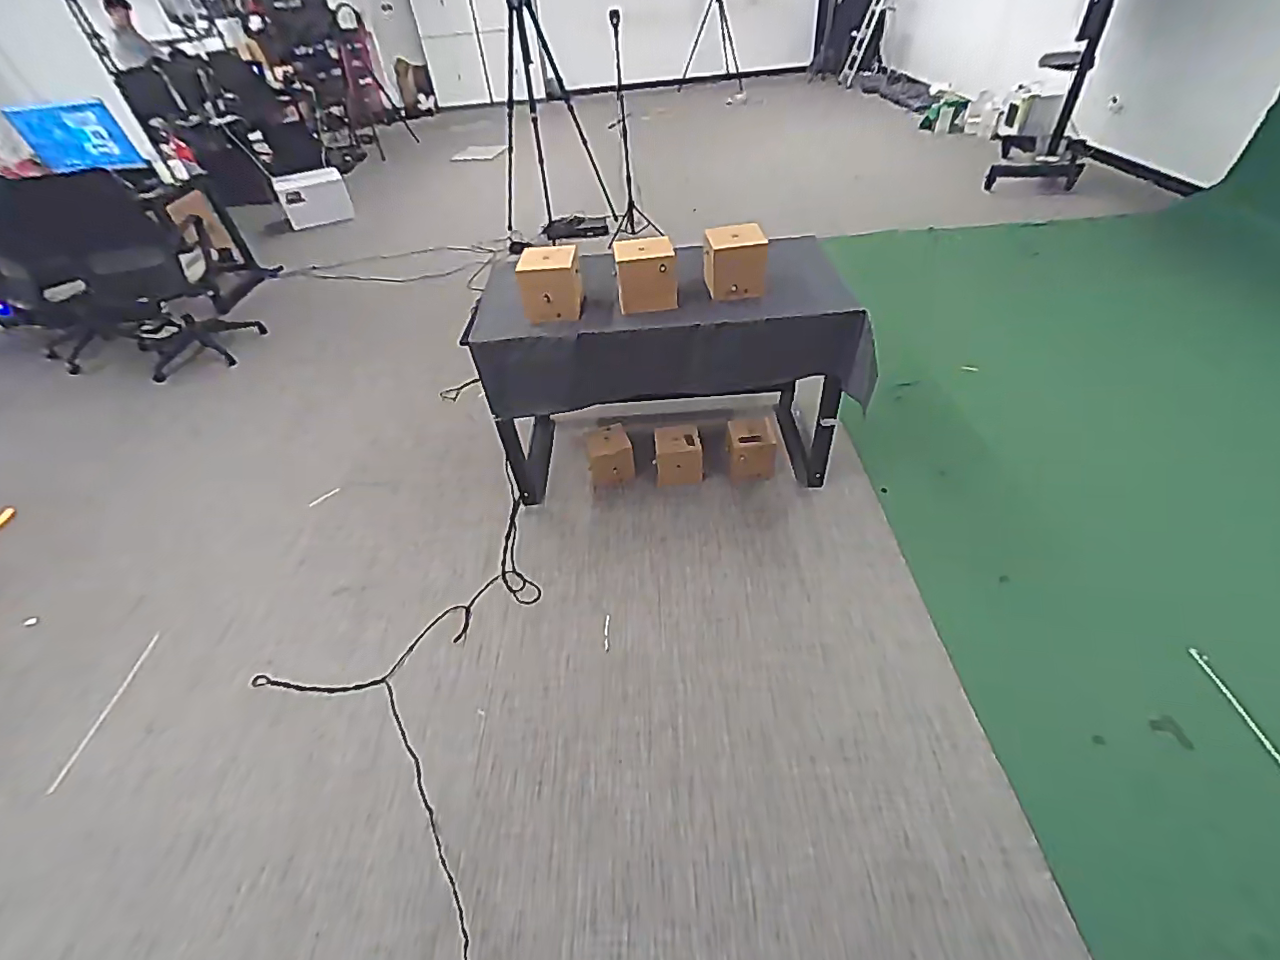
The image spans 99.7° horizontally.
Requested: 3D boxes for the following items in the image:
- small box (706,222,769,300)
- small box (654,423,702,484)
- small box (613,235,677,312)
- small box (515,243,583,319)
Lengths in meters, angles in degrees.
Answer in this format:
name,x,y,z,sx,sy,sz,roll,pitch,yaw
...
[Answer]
name,x,y,z,sx,sy,sz,roll,pitch,yaw
small box,0.295,-0.679,1.678,0.168,0.176,0.179,-6,44,1
small box,0.151,-0.103,2.144,0.179,0.176,0.168,-6,44,2
small box,0.016,-0.631,1.662,0.179,0.176,0.168,-7,43,-1
small box,-0.272,-0.607,1.664,0.168,0.176,0.179,-2,44,4
